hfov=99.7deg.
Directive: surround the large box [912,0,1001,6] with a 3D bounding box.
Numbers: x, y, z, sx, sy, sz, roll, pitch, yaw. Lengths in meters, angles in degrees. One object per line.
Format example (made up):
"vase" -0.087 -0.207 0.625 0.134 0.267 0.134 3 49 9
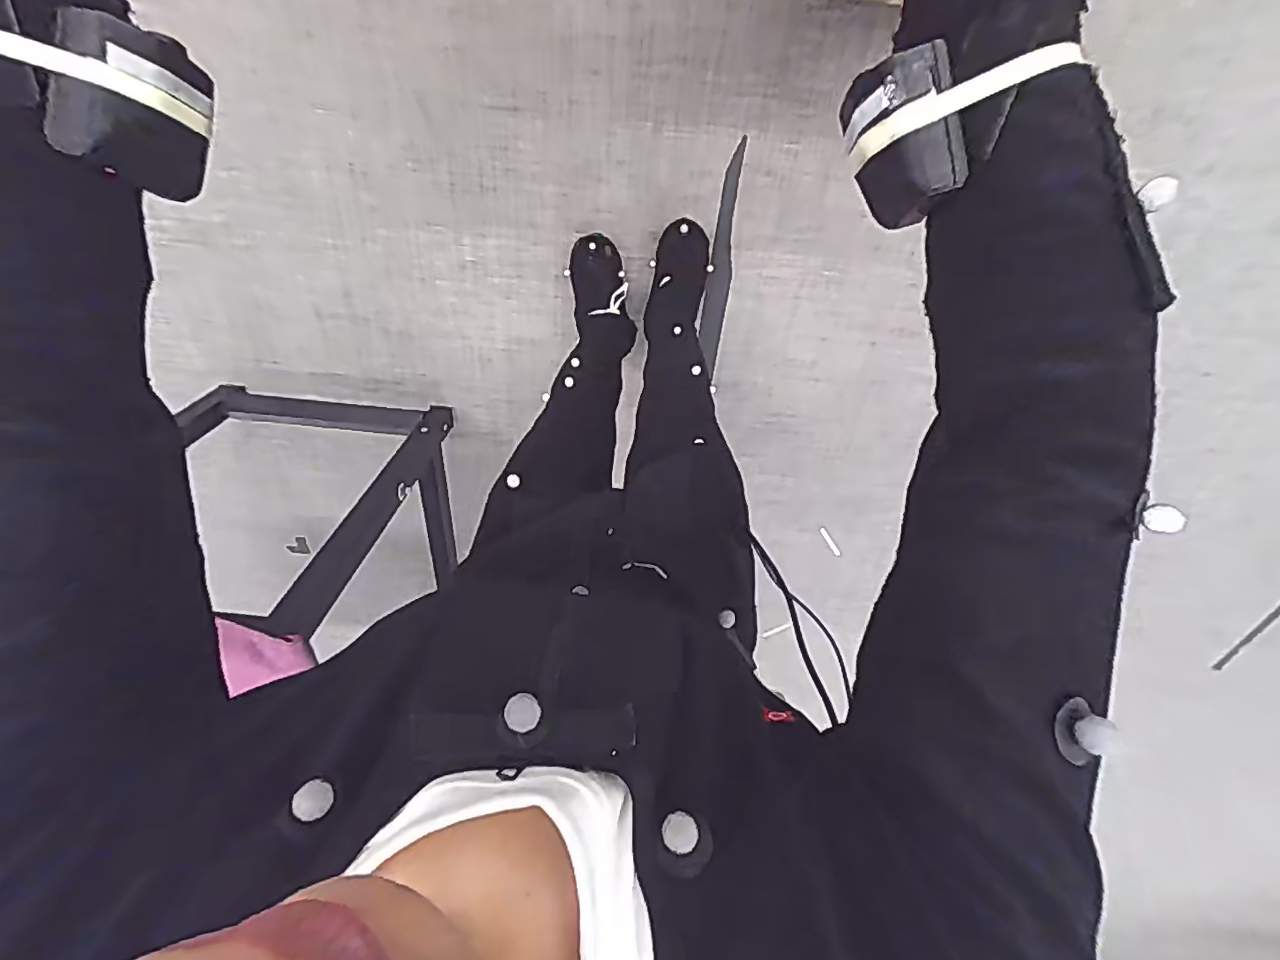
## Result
"large box" 0.423 -0.855 0.640 0.320 0.320 0.408 4 126 0
